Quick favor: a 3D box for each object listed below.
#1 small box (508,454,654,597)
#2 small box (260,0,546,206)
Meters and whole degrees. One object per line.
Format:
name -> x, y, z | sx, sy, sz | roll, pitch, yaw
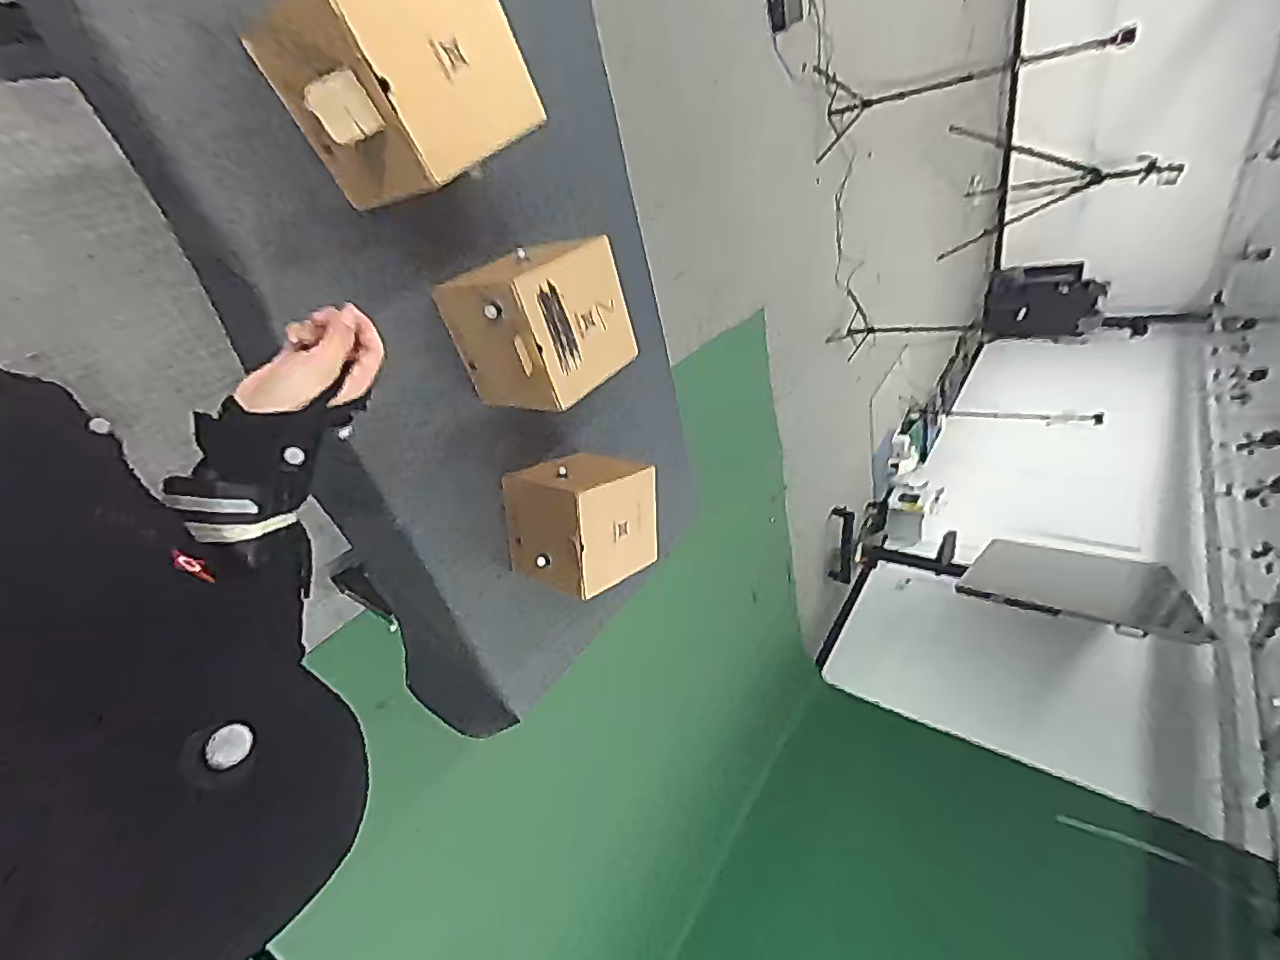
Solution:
small box -> -0.096, 0.061, 0.866 | 0.179, 0.176, 0.168 | -21, 117, -49
small box -> -0.238, -0.409, 0.558 | 0.179, 0.176, 0.168 | -53, 137, -29
